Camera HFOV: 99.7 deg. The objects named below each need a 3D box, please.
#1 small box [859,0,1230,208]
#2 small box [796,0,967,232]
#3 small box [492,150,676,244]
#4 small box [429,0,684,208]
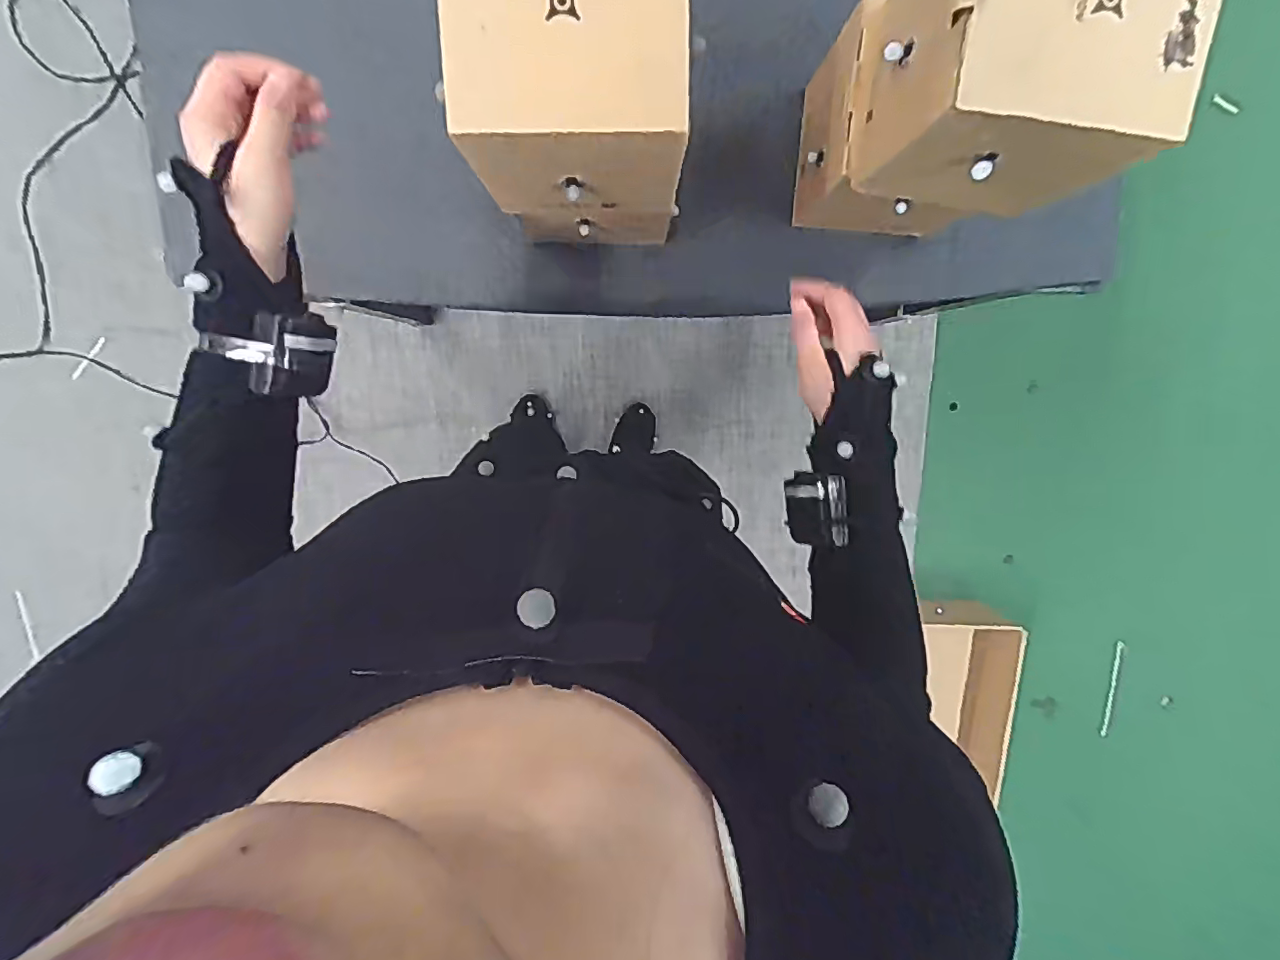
[{"bbox_3d":[0.301,-0.336,0.433,0.179,0.176,0.168,6,100,-3],"label":"small box"},{"bbox_3d":[0.285,-0.383,0.591,0.179,0.176,0.168,3,101,-3],"label":"small box"},{"bbox_3d":[-0.054,-0.364,0.583,0.179,0.176,0.168,1,100,0],"label":"small box"},{"bbox_3d":[-0.053,-0.327,0.421,0.168,0.176,0.179,-1,99,-2],"label":"small box"}]
